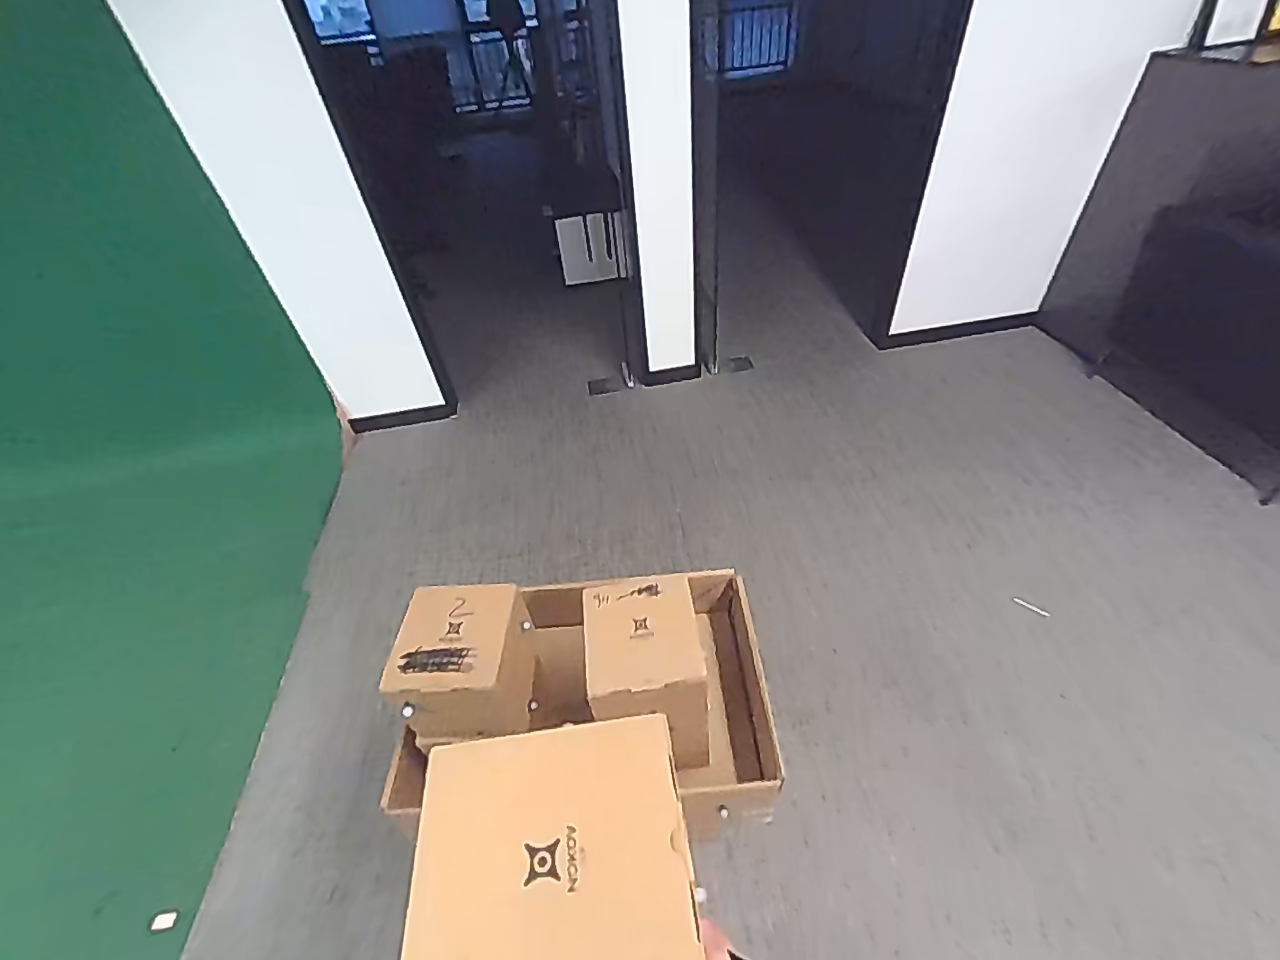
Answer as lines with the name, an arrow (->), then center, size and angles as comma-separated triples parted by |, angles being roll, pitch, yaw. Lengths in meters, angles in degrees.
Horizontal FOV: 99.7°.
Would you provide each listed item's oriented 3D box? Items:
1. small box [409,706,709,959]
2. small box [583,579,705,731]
small box -> -0.049, 0.295, 0.402 | 0.179, 0.176, 0.168 | -7, 44, -3
small box -> 0.007, 0.280, 0.834 | 0.168, 0.176, 0.179 | -7, 44, -1
